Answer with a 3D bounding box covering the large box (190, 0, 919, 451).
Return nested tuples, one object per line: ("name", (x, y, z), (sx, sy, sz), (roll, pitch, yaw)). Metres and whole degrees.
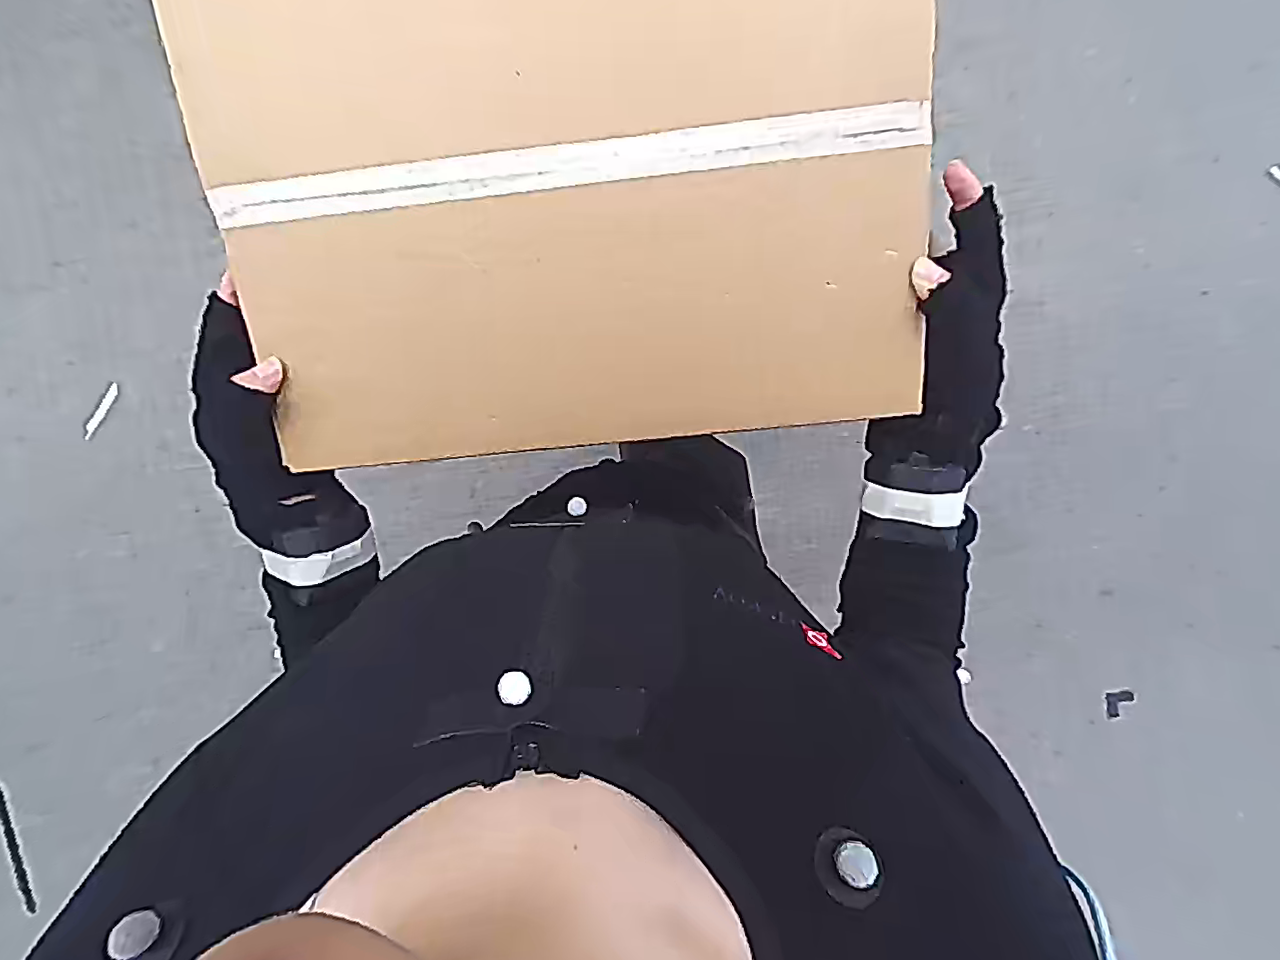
("large box", (-0.040, -0.224, 0.459), (0.408, 0.320, 0.320), (-6, 105, 3))
